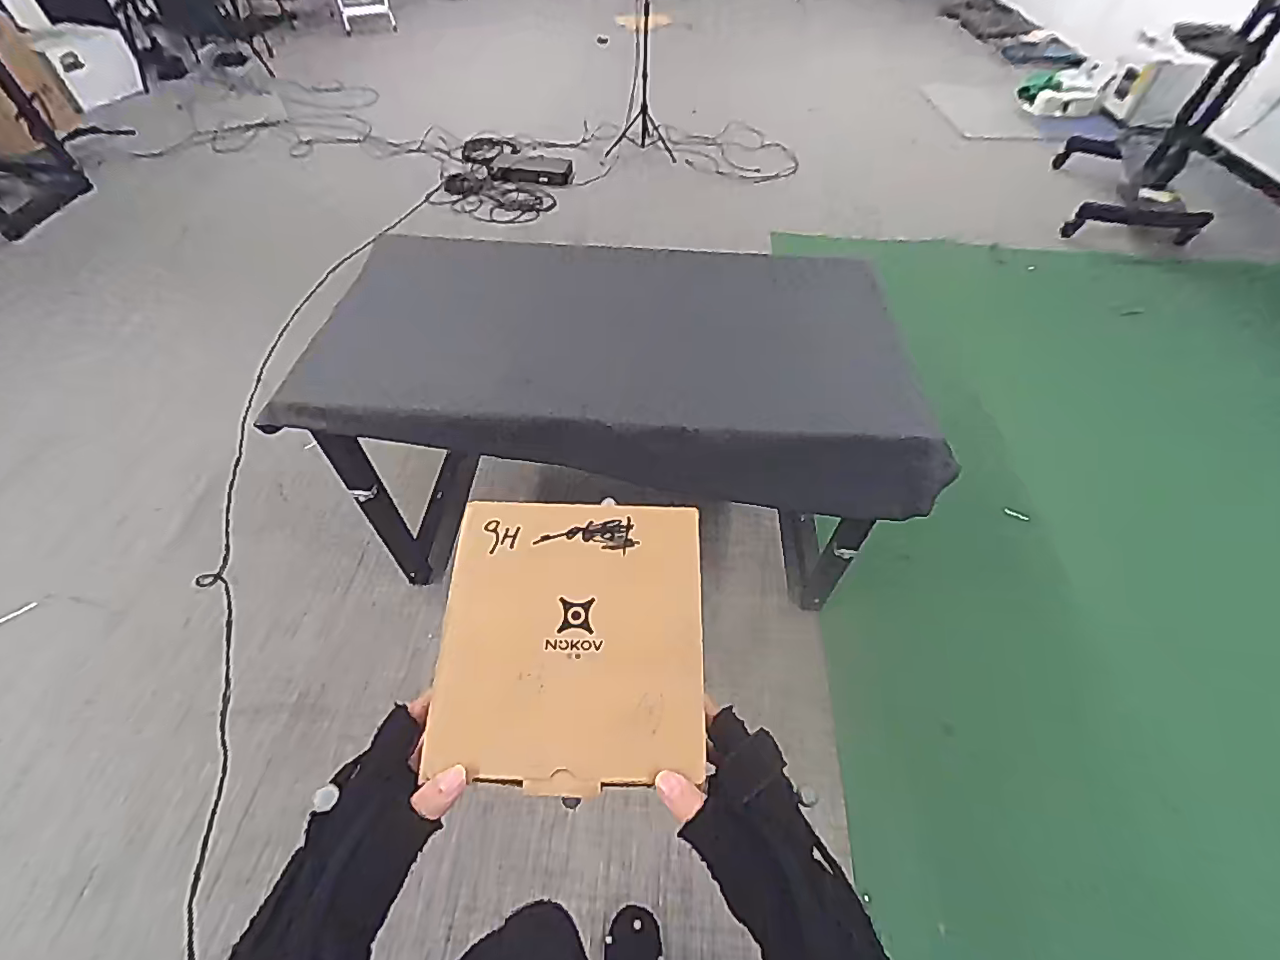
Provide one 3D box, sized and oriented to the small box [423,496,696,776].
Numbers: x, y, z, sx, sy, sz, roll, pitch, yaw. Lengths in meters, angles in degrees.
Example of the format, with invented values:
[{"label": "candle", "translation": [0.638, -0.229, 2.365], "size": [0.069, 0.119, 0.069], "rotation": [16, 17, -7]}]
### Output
[{"label": "small box", "translation": [-0.046, 0.124, 0.421], "size": [0.168, 0.176, 0.179], "rotation": [1, 65, -1]}]
